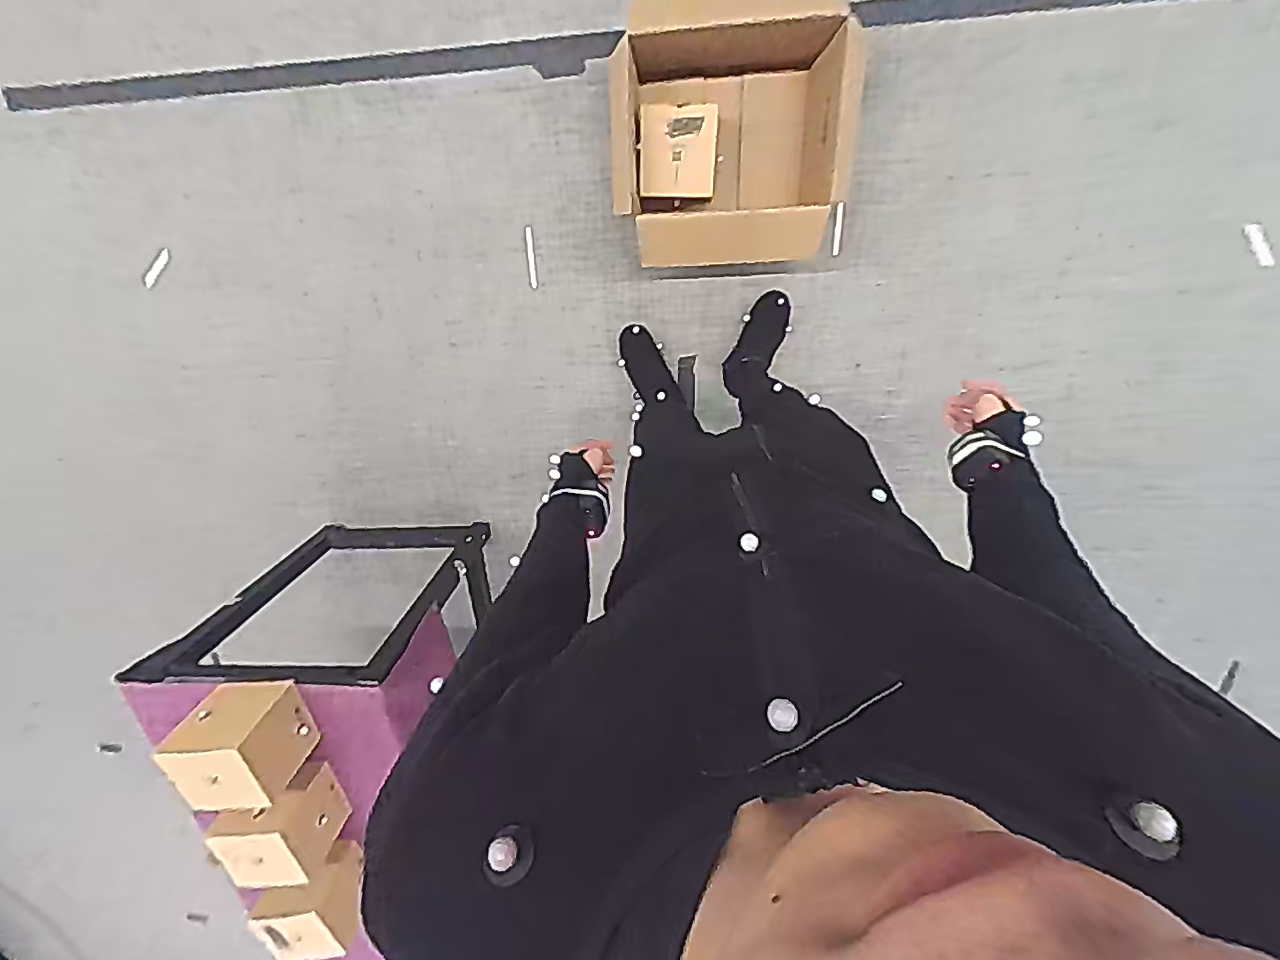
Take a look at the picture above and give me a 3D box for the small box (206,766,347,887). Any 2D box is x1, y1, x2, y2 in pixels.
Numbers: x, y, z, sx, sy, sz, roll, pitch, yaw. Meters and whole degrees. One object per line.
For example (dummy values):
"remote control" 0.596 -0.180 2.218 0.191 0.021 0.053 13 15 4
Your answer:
"small box" -0.782 0.757 1.192 0.179 0.176 0.168 -7 113 8

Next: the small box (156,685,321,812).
"small box" -0.799 0.538 1.097 0.179 0.176 0.168 -5 115 7
